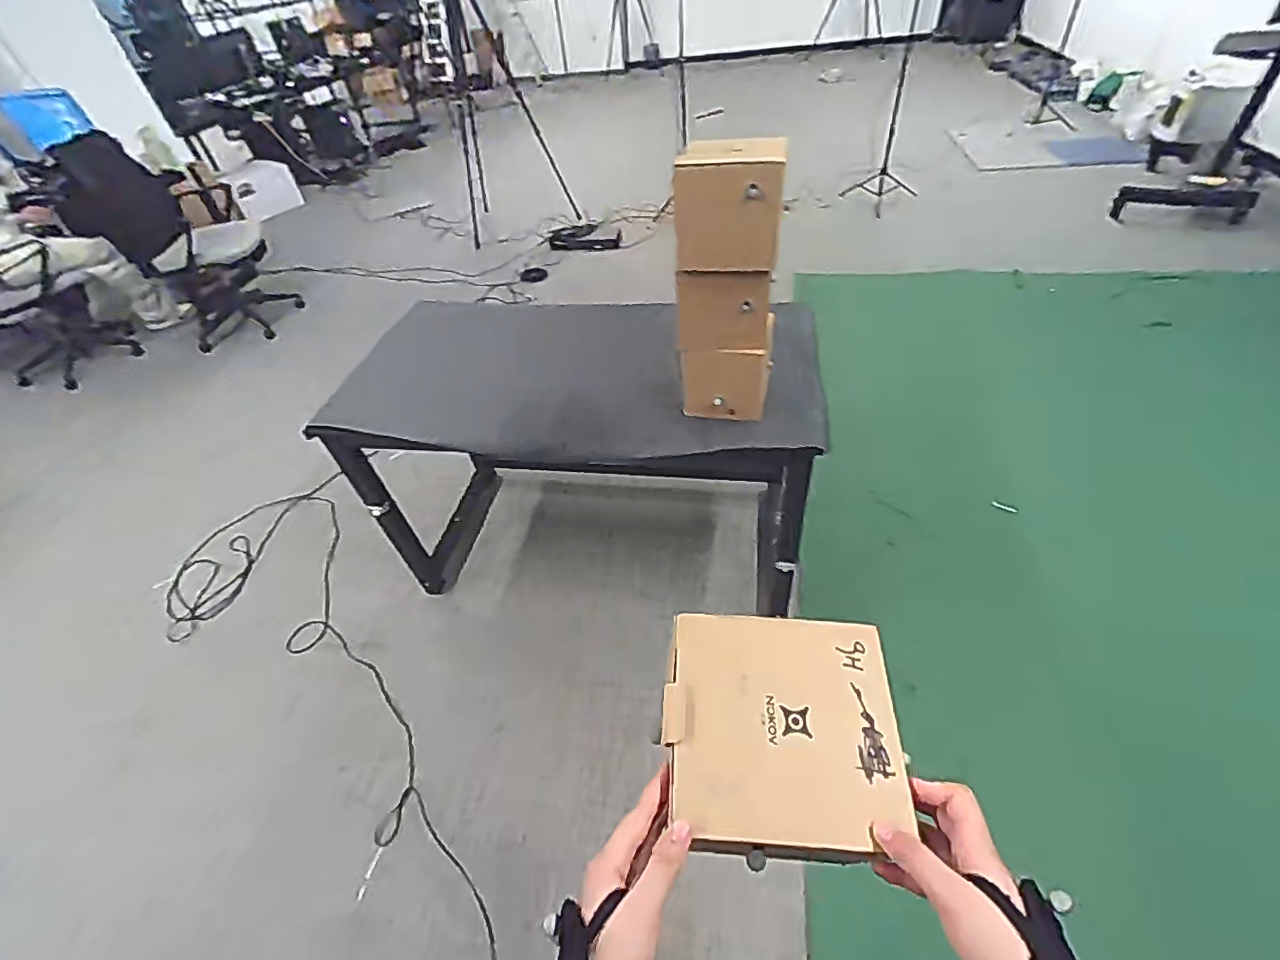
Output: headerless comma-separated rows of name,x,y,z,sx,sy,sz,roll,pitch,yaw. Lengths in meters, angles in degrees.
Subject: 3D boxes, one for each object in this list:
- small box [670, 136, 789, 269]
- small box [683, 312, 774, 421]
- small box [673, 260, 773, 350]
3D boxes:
small box,0.157,-0.474,0.932,0.179,0.176,0.168,5,42,14
small box,0.191,-0.250,1.168,0.168,0.176,0.179,7,45,16
small box,0.164,-0.369,1.061,0.179,0.176,0.168,0,42,11
